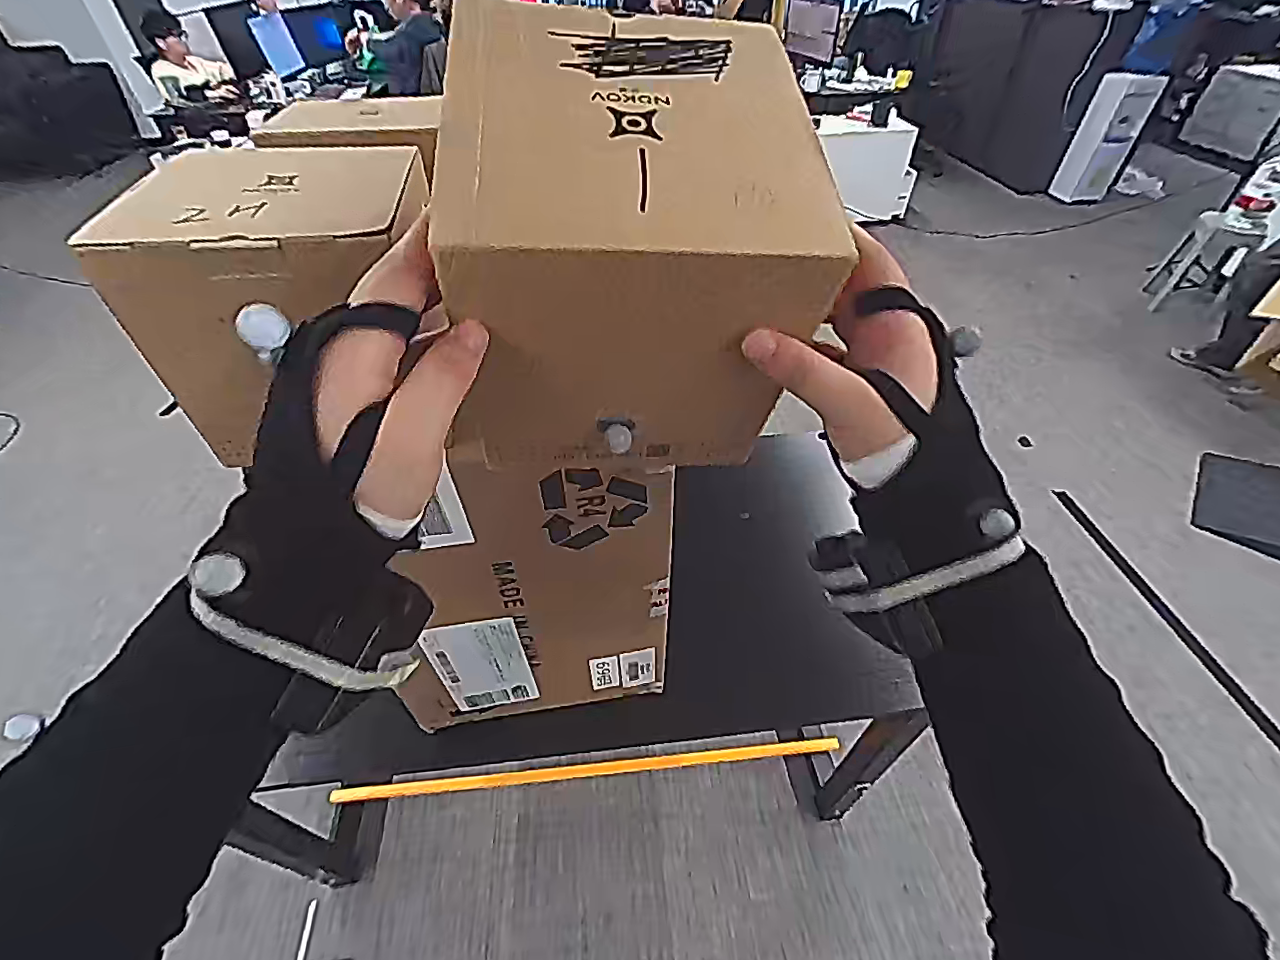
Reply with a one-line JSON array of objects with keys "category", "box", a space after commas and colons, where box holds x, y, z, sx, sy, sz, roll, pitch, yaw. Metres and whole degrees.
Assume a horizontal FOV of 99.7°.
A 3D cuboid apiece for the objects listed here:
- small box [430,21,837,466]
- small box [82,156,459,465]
[{"category": "small box", "box": [-0.015, -0.125, 0.321, 0.168, 0.176, 0.179, -2, 62, -8]}, {"category": "small box", "box": [-0.244, -0.134, 0.421, 0.168, 0.176, 0.179, -6, 47, -8]}]
